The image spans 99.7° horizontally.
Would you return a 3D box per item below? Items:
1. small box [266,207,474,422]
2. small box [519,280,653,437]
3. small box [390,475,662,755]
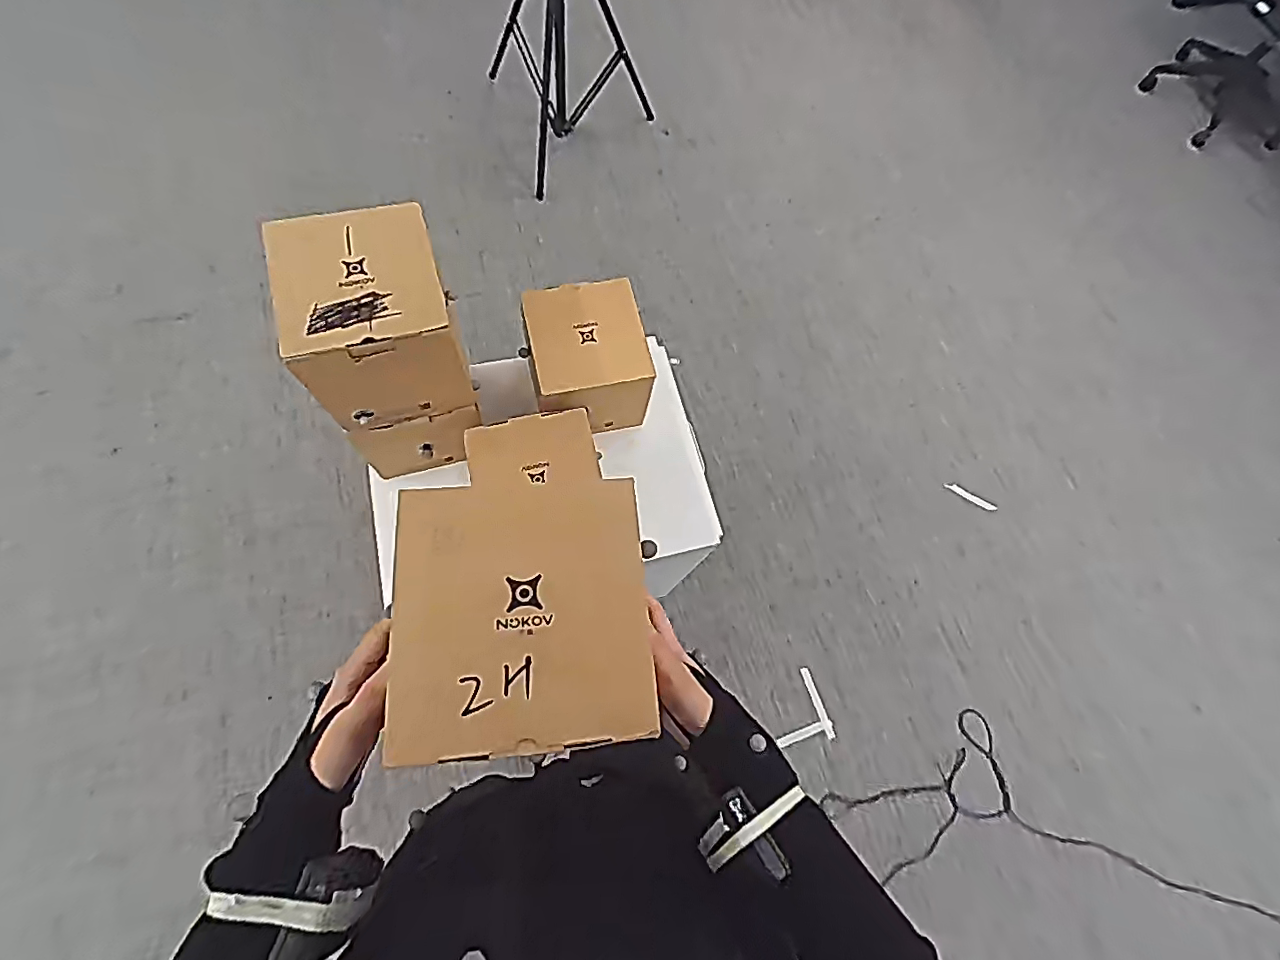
[{"bbox_3d":[-0.308,-0.184,0.647,0.168,0.176,0.179,-15,73,-13],"label":"small box"},{"bbox_3d":[-0.085,-0.180,0.852,0.168,0.176,0.179,-12,72,-11],"label":"small box"},{"bbox_3d":[-0.083,0.110,0.432,0.168,0.176,0.179,-3,68,-8],"label":"small box"}]
